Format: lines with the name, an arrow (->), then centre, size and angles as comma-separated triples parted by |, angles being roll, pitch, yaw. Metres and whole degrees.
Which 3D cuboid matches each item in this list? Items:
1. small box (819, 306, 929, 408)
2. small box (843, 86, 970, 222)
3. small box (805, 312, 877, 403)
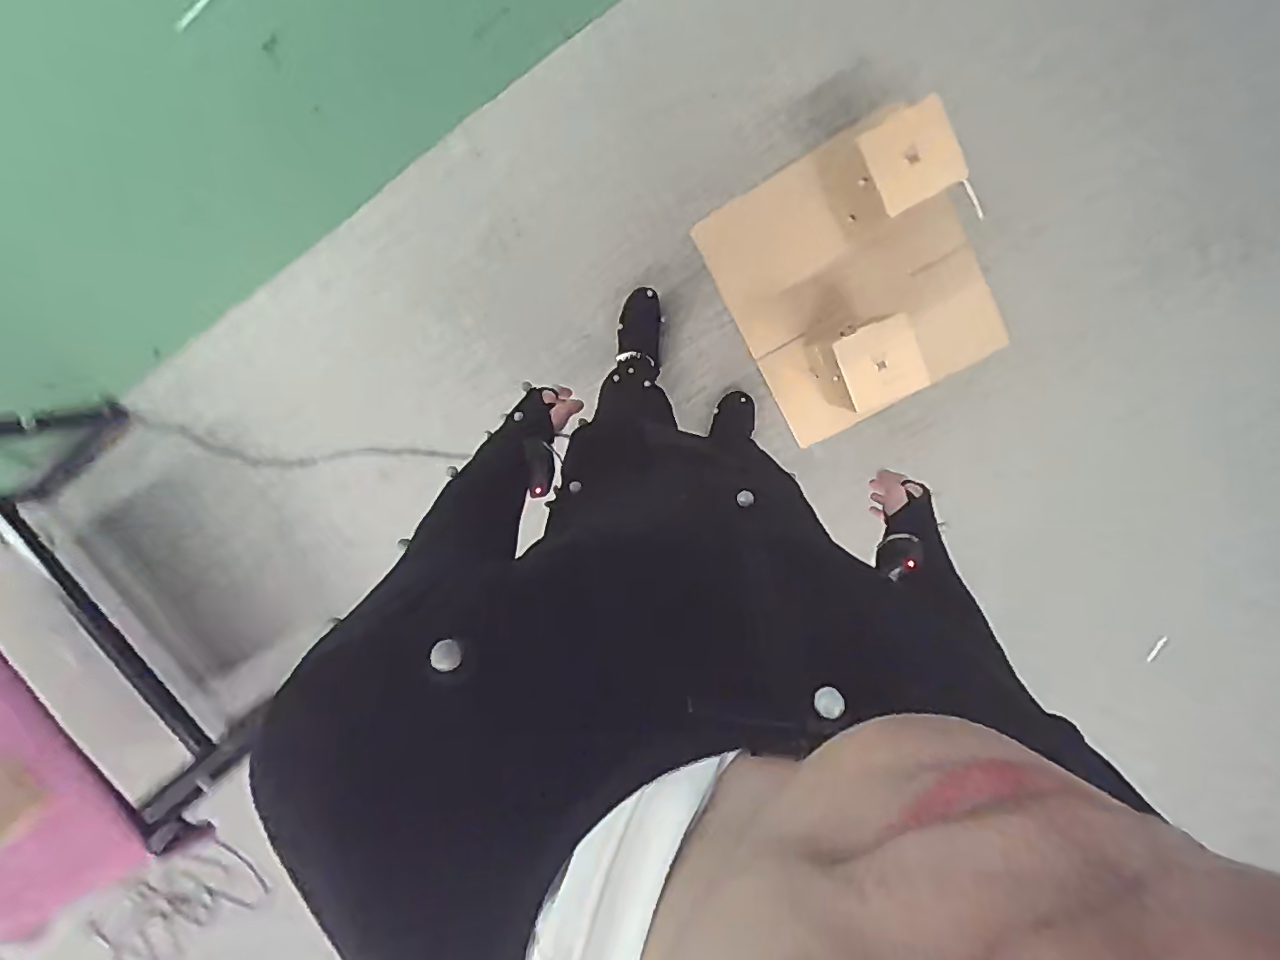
small box -> 0.534, -0.284, 1.256 | 0.168, 0.176, 0.179 | -22, 100, 12
small box -> 0.557, -0.675, 1.152 | 0.168, 0.176, 0.179 | -26, 99, 13
small box -> 0.550, -0.322, 1.415 | 0.168, 0.176, 0.179 | -24, 100, 12
